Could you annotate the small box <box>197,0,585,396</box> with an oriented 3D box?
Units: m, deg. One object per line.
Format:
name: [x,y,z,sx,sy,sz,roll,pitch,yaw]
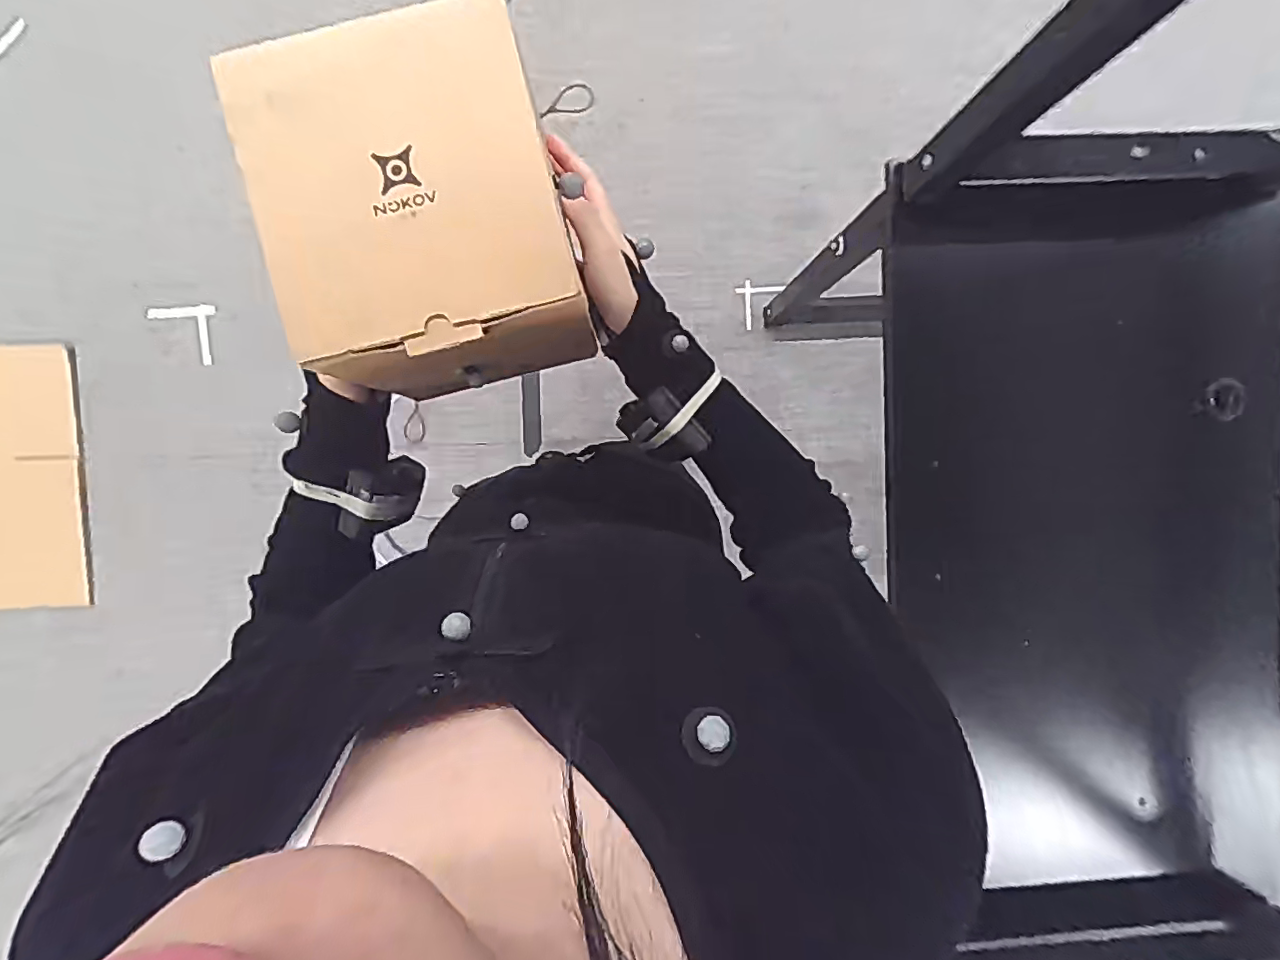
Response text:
small box: [-0.139,-0.169,0.370,0.168,0.176,0.179,-15,93,-2]
